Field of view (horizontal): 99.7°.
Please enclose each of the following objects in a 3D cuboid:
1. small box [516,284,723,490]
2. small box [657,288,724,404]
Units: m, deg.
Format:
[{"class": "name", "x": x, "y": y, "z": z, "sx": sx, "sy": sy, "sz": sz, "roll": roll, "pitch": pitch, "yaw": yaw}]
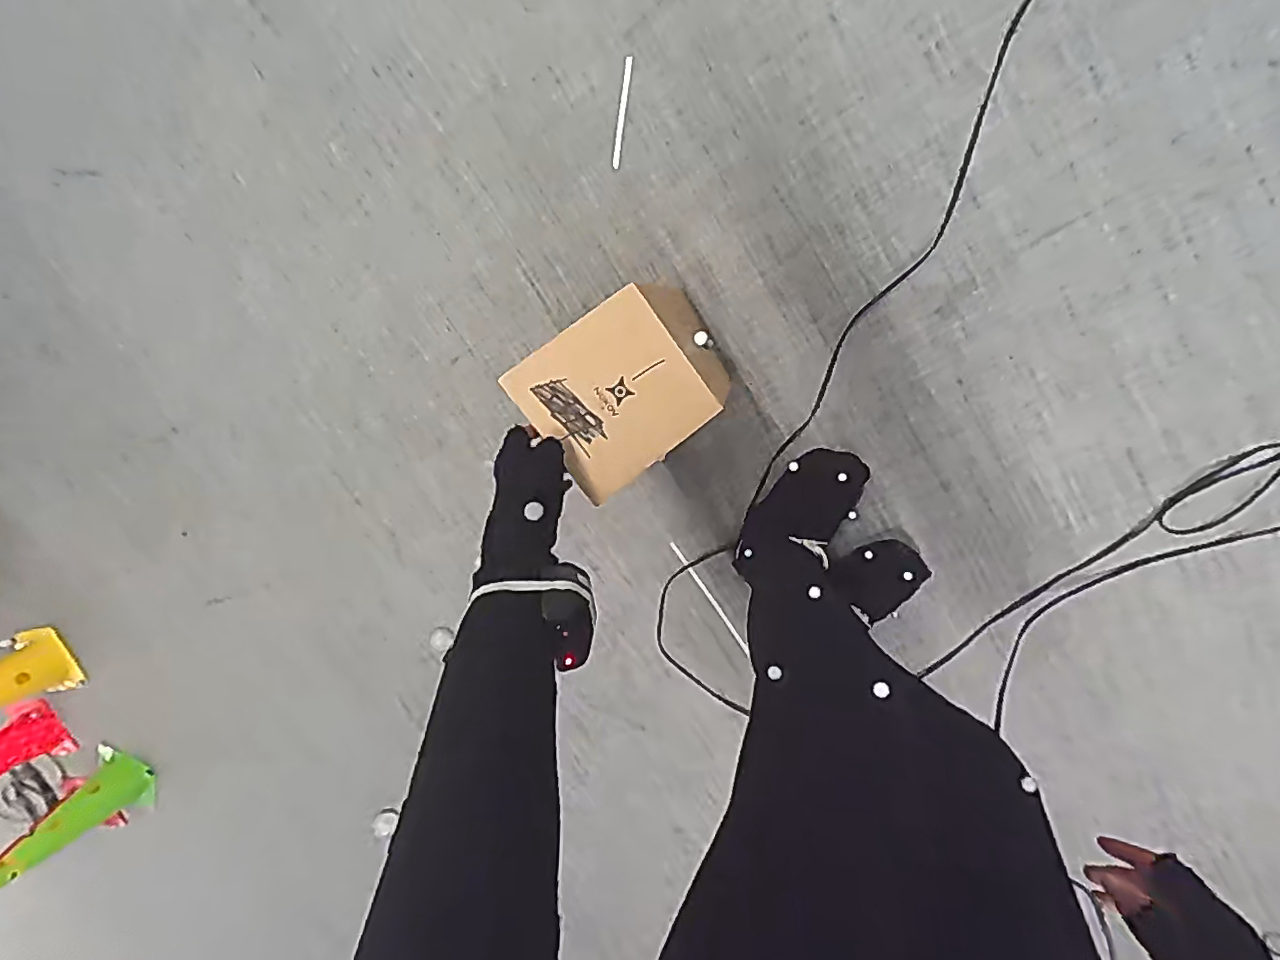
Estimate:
[{"class": "small box", "x": -0.013, "y": -0.119, "z": 0.670, "sx": 0.179, "sy": 0.176, "sz": 0.168, "roll": -34, "pitch": 99, "yaw": 20}, {"class": "small box", "x": 0.017, "y": -0.175, "z": 0.822, "sx": 0.168, "sy": 0.176, "sz": 0.179, "roll": -28, "pitch": 102, "yaw": 20}]
